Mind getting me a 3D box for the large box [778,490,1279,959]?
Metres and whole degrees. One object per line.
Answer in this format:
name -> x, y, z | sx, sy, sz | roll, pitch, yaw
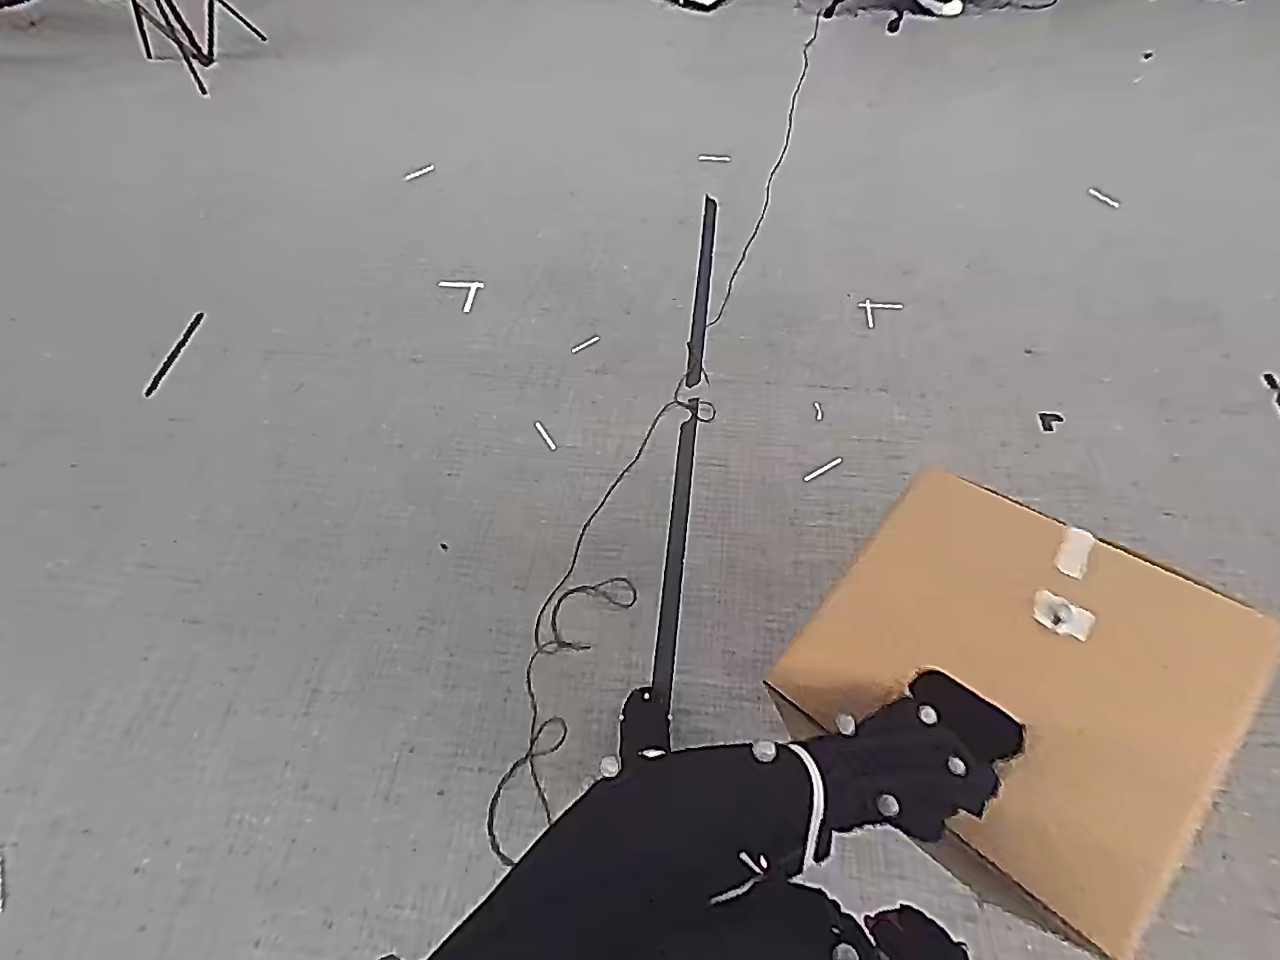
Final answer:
large box -> 0.408, 0.282, 0.653 | 0.320, 0.408, 0.320 | -46, 54, -11
